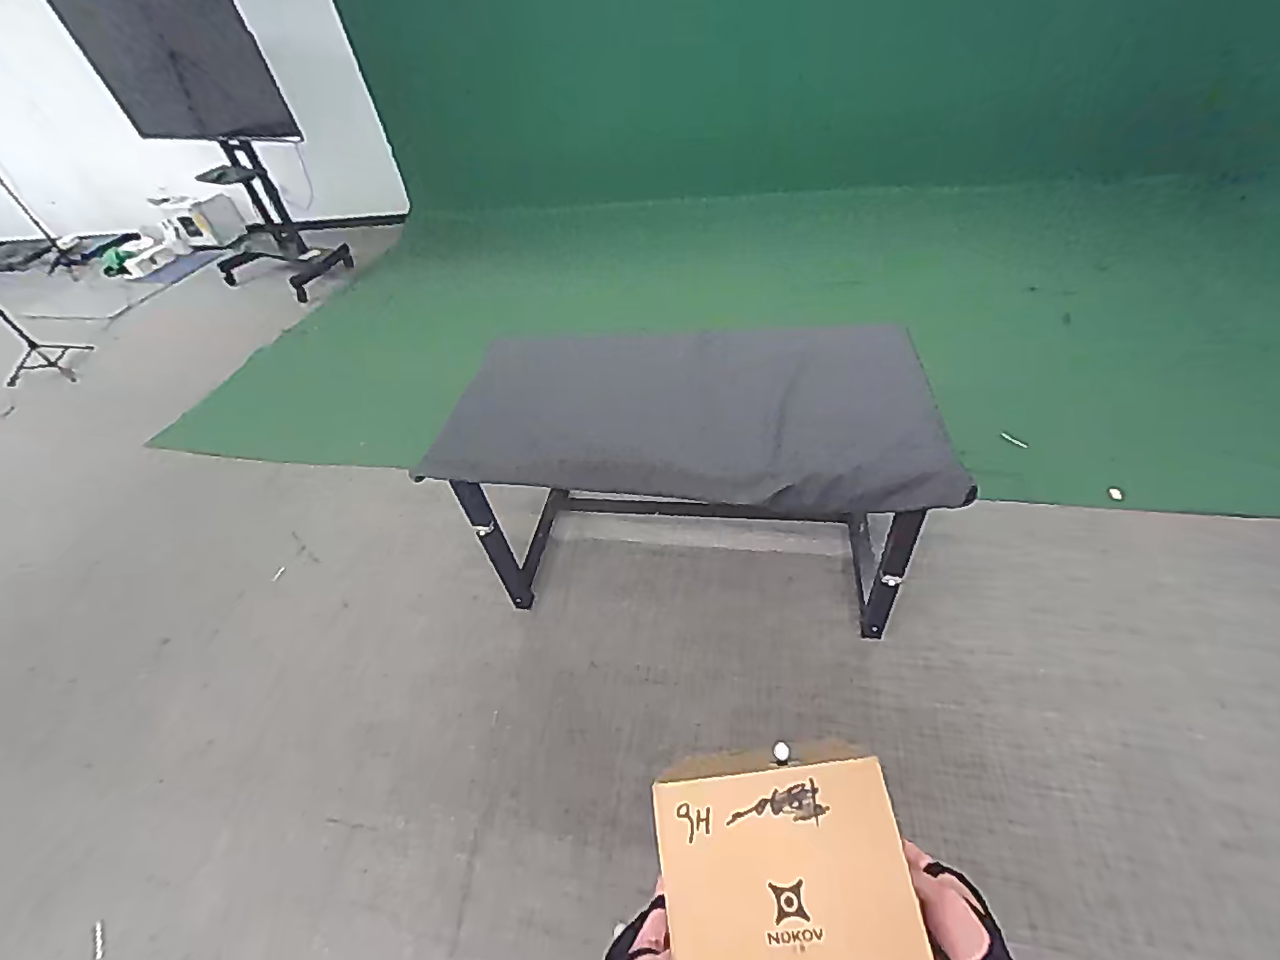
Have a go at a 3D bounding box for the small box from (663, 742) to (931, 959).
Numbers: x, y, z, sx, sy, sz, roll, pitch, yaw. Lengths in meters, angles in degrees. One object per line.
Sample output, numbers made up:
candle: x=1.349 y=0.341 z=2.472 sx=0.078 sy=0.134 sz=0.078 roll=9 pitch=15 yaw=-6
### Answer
small box: x=0.120 y=0.326 z=0.440 sx=0.168 sy=0.176 sz=0.179 roll=-10 pitch=68 yaw=6
